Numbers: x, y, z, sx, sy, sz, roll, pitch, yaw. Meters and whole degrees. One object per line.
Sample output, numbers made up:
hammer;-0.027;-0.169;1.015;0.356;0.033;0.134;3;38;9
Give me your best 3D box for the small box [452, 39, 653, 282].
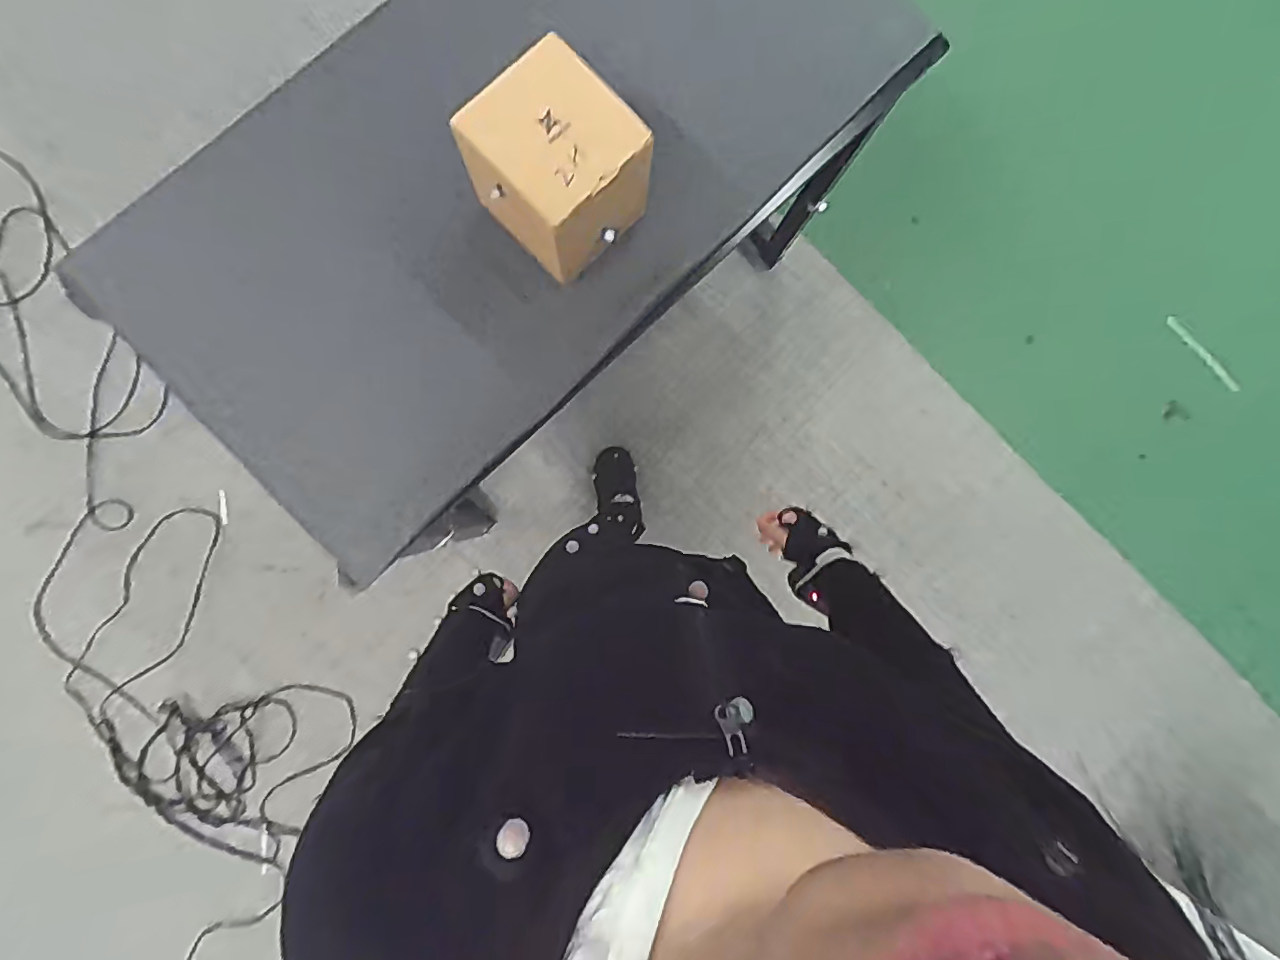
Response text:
small box;-0.106;-0.398;0.706;0.168;0.176;0.179;-45;90;-5
